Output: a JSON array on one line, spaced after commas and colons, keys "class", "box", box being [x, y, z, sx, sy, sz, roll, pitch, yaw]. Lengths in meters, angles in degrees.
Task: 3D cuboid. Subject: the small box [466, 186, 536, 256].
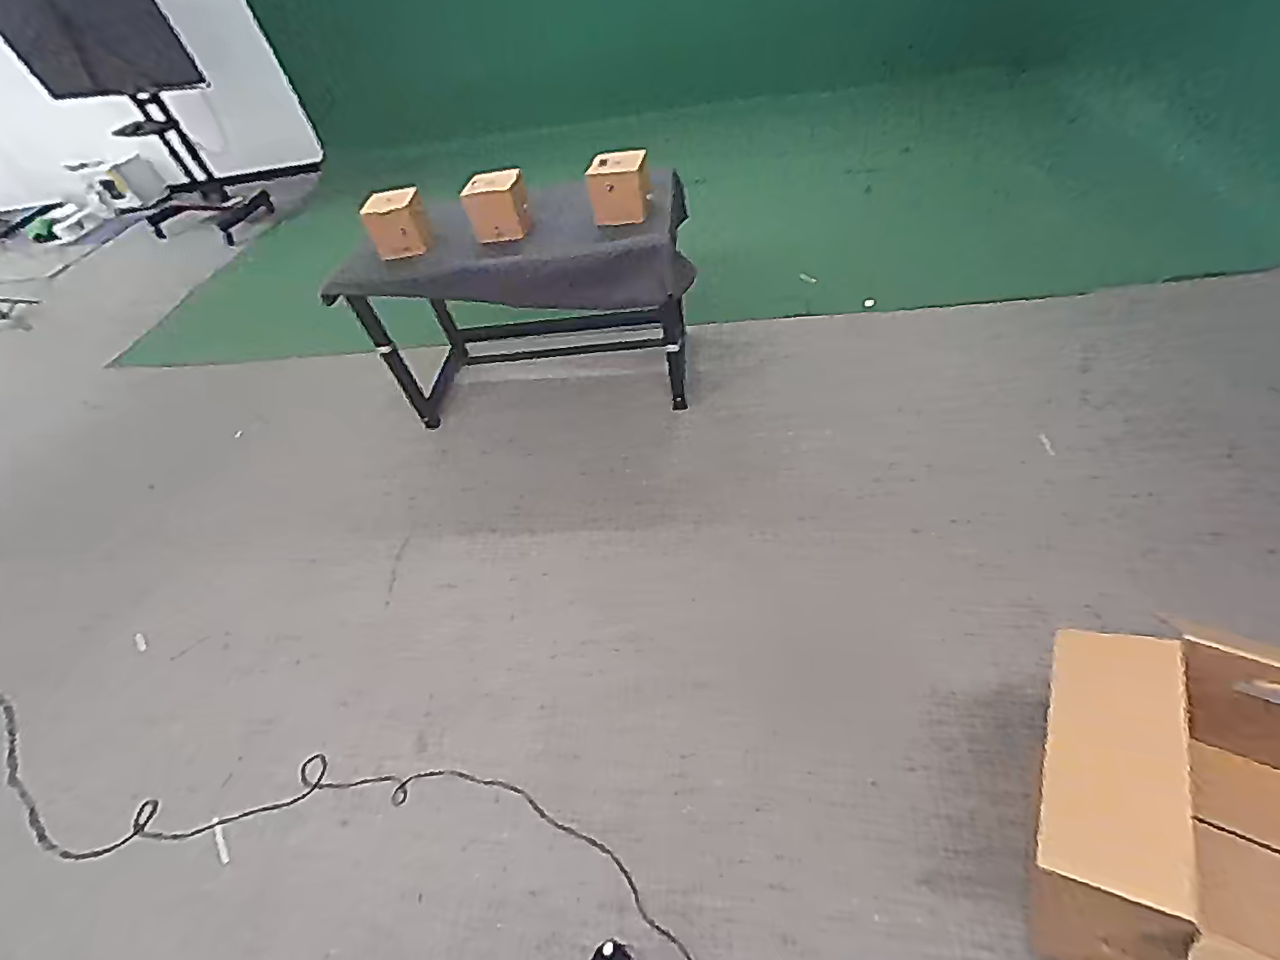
[{"class": "small box", "box": [-0.485, -0.917, 1.922, 0.179, 0.176, 0.168, -1, 48, 11]}]

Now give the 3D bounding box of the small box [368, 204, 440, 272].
[{"class": "small box", "box": [-0.849, -0.872, 1.963, 0.168, 0.176, 0.179, -8, 45, 3]}]

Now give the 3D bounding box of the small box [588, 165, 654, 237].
[{"class": "small box", "box": [-0.059, -0.954, 1.857, 0.179, 0.176, 0.168, 2, 50, 14]}]
